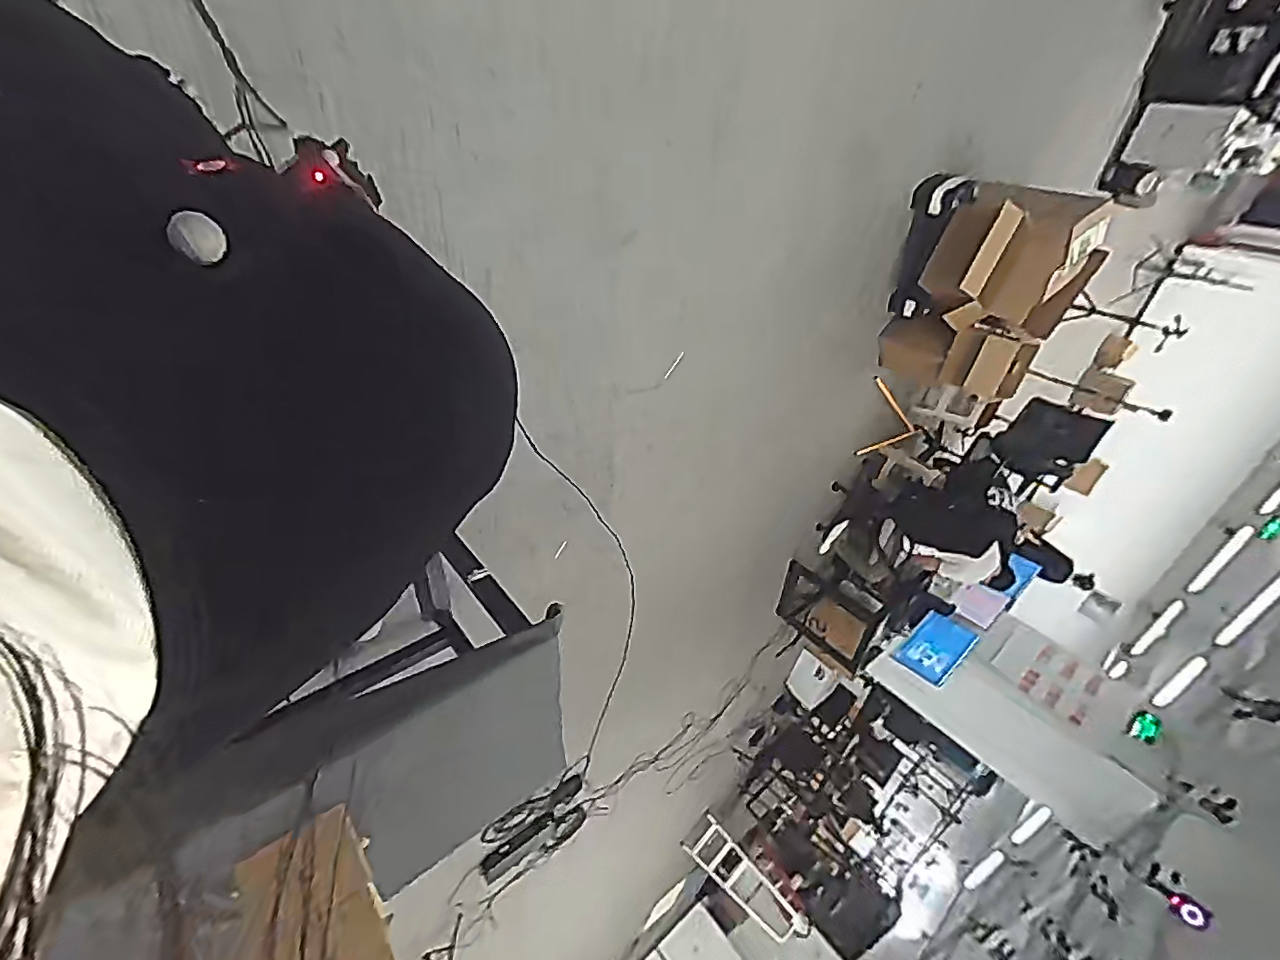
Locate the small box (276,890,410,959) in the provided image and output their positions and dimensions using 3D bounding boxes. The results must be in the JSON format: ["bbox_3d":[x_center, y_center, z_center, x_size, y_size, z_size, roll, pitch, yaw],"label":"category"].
[{"bbox_3d":[-0.471,0.827,0.884,0.168,0.176,0.179,-23,133,-35],"label":"small box"}]

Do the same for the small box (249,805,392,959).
[{"bbox_3d":[-0.577,0.742,0.976,0.179,0.176,0.168,-23,134,-36],"label":"small box"}]
